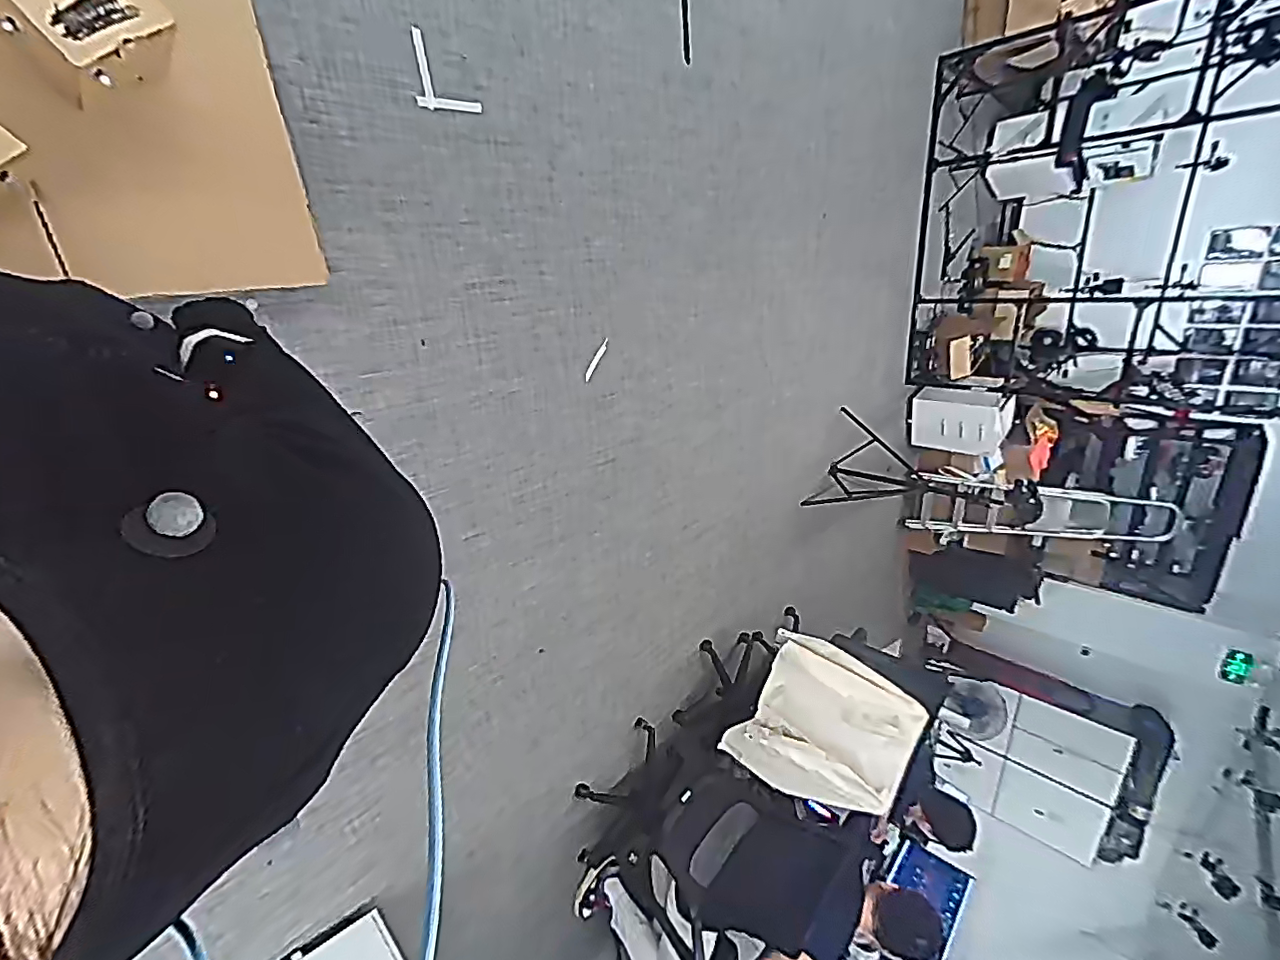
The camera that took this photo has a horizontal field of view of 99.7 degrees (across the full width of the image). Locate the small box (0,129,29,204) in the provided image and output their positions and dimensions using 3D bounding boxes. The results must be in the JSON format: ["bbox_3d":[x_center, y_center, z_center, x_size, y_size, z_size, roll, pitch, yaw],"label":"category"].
[{"bbox_3d":[-0.989,-0.444,0.721,0.168,0.176,0.179,49,62,-39],"label":"small box"}]
